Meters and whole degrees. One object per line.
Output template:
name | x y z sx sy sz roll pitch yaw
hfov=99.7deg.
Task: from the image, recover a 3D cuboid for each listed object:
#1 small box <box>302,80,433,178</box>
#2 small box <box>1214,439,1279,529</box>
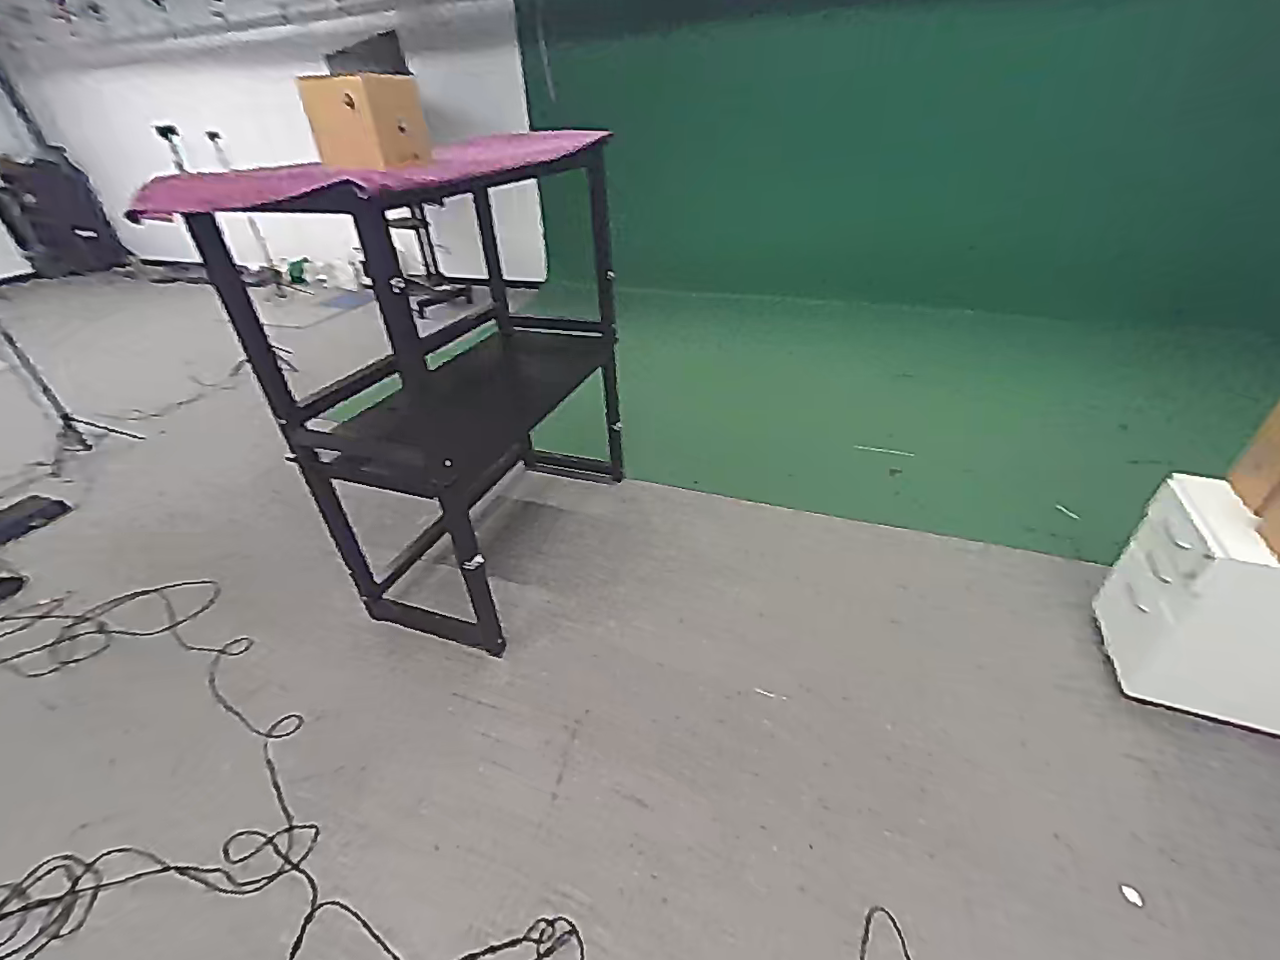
small box | -0.589 -0.772 1.194 0.179 0.176 0.168 10 34 17
small box | 1.717 0.016 1.452 0.168 0.176 0.179 11 38 18
